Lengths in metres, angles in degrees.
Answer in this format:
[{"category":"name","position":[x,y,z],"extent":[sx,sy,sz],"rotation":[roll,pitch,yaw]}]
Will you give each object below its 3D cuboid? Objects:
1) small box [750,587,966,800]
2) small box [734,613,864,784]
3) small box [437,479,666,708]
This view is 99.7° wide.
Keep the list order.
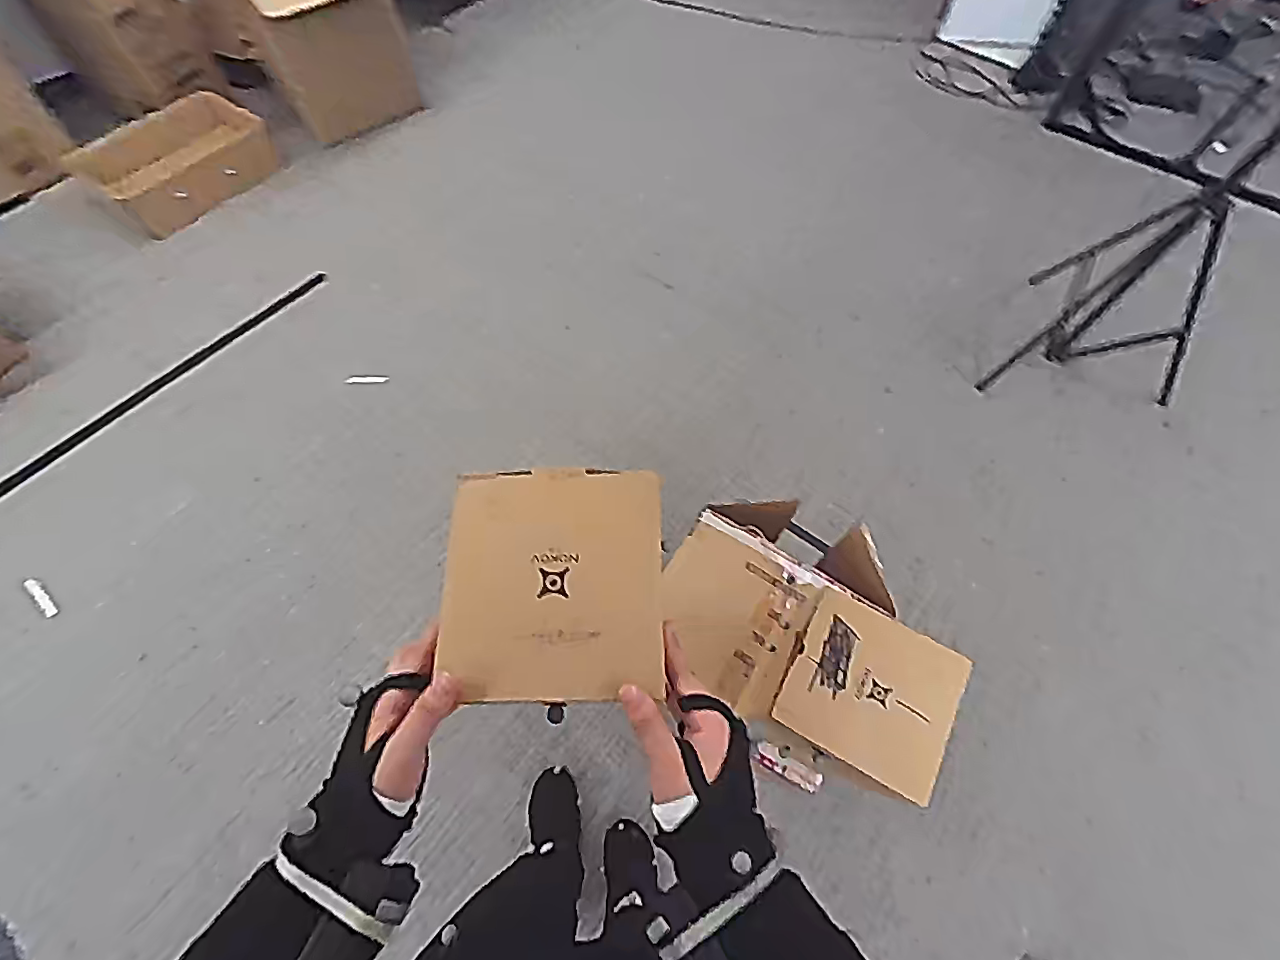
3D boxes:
[{"category":"small box","position":[0.254,0.262,0.672],"extent":[0.179,0.176,0.168],"rotation":[28,70,13]},{"category":"small box","position":[0.263,0.327,0.824],"extent":[0.179,0.176,0.168],"rotation":[28,69,13]},{"category":"small box","position":[-0.065,0.110,0.488],"extent":[0.168,0.176,0.179],"rotation":[-1,69,-1]}]
